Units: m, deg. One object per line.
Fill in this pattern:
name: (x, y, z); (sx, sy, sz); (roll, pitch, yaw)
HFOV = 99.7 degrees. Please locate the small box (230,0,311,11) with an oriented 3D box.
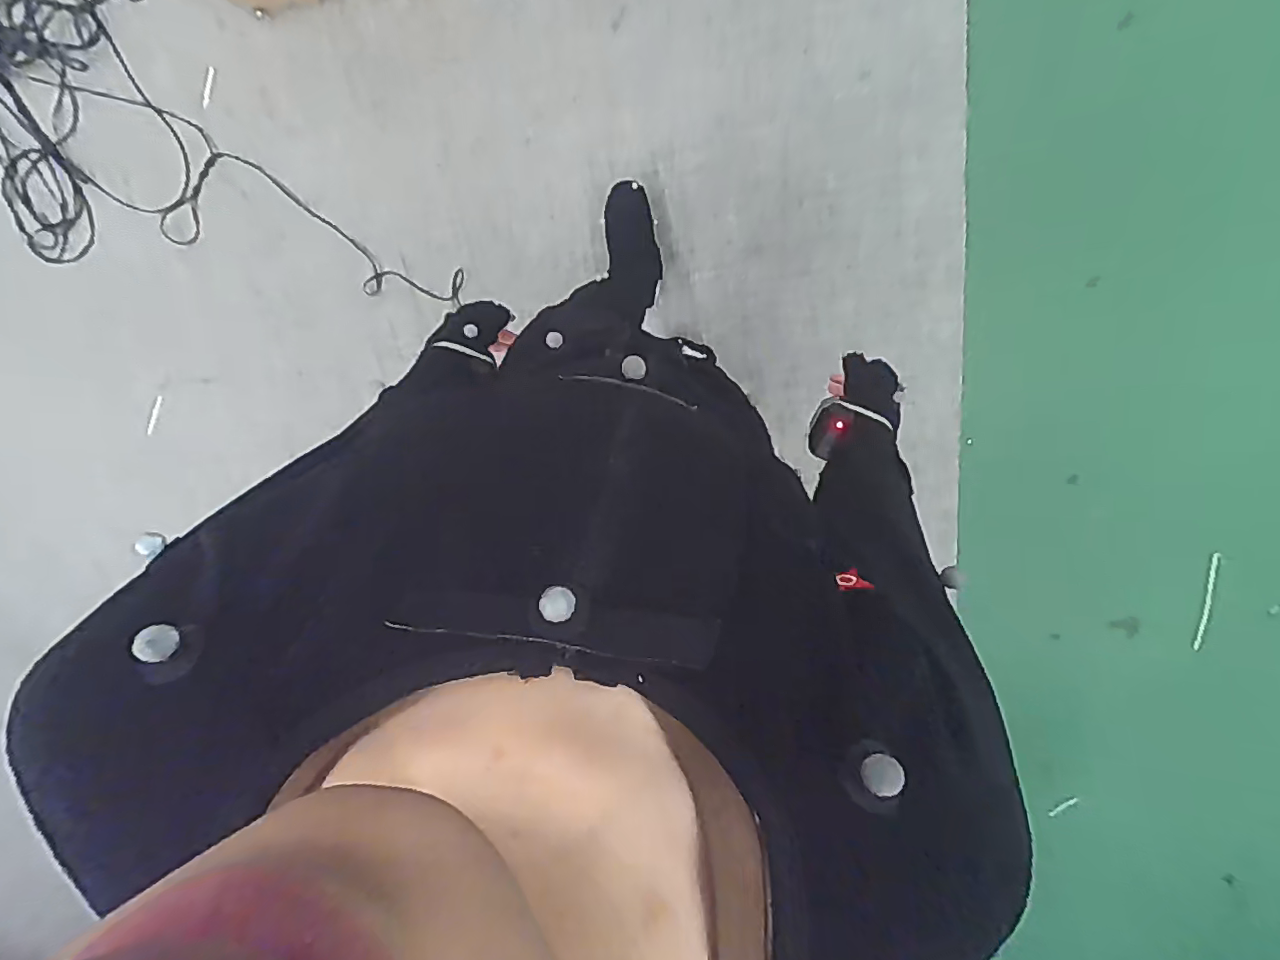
small box: (-0.801, -1.089, 1.087); (0.168, 0.176, 0.179); (-6, 109, 7)
